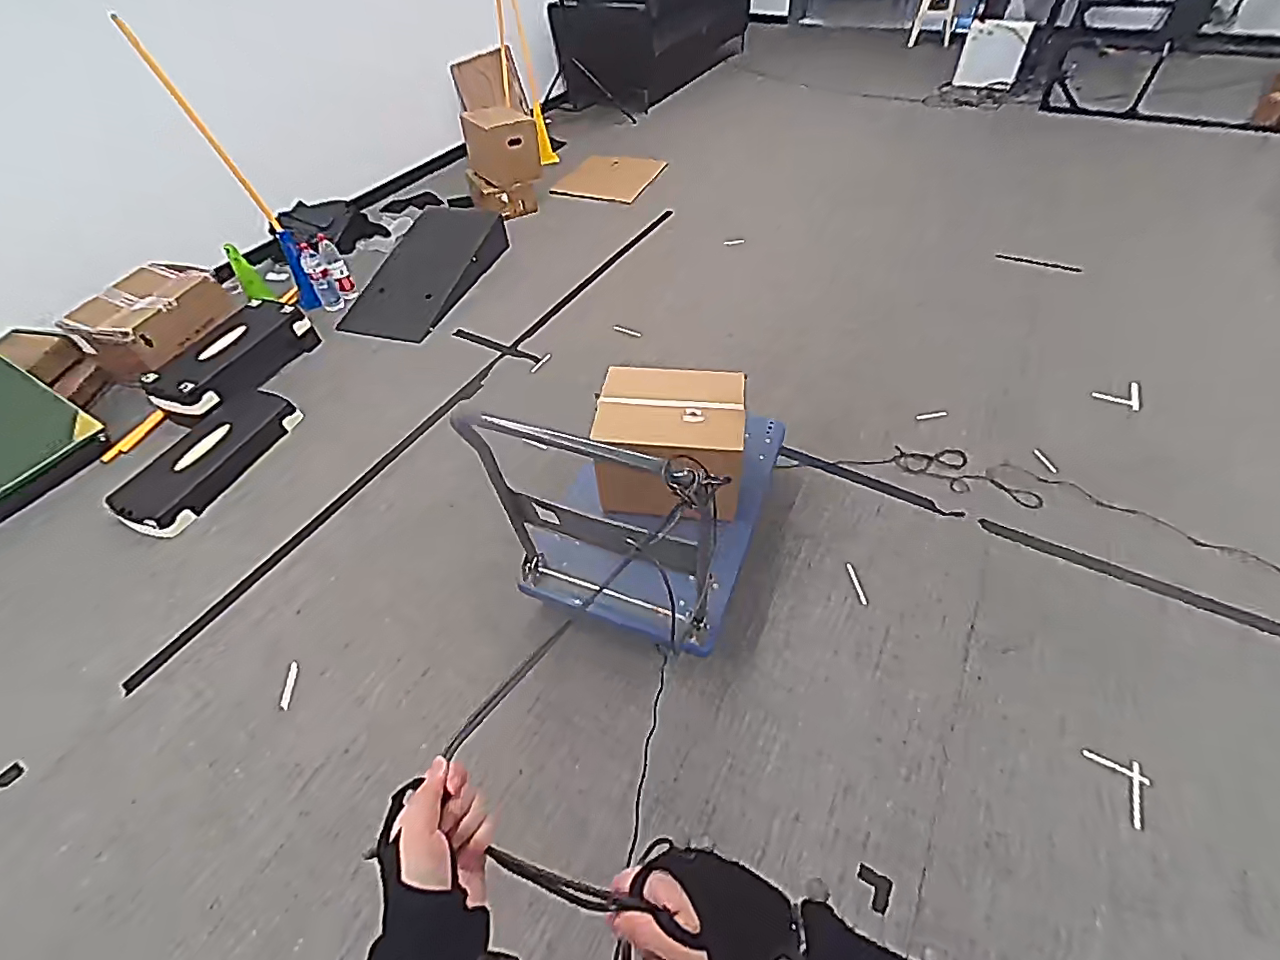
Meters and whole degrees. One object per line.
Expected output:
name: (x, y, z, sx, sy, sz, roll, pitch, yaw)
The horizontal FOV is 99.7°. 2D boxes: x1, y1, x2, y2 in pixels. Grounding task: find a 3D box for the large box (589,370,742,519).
large box: (0.084, -0.102, 1.599, 0.408, 0.320, 0.320, 4, 51, 7)
